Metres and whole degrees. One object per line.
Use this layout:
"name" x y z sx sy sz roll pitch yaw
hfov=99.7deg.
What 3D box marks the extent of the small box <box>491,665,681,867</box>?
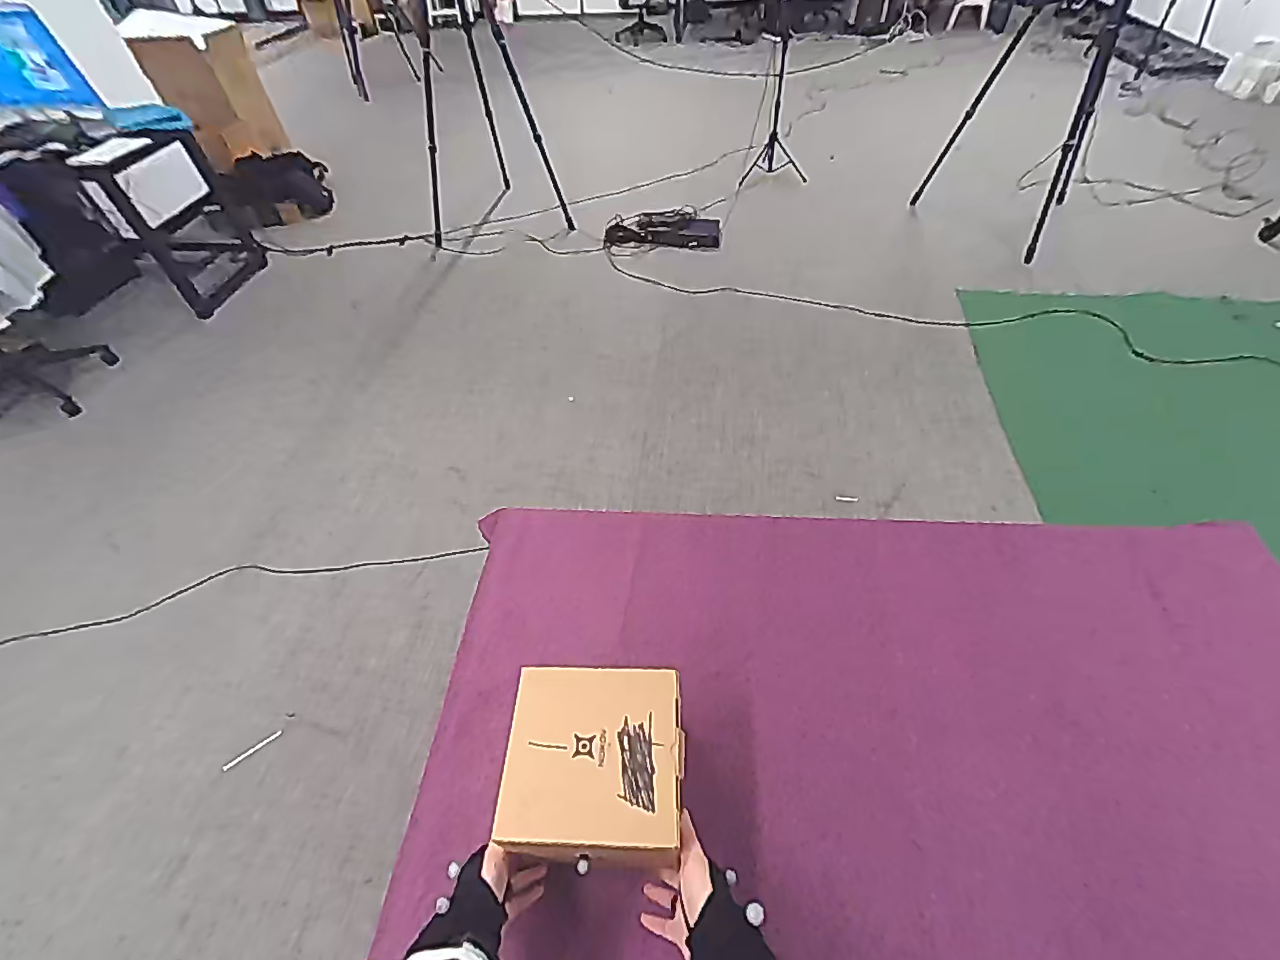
"small box" -0.043 0.320 0.603 0.179 0.176 0.168 -1 49 4
